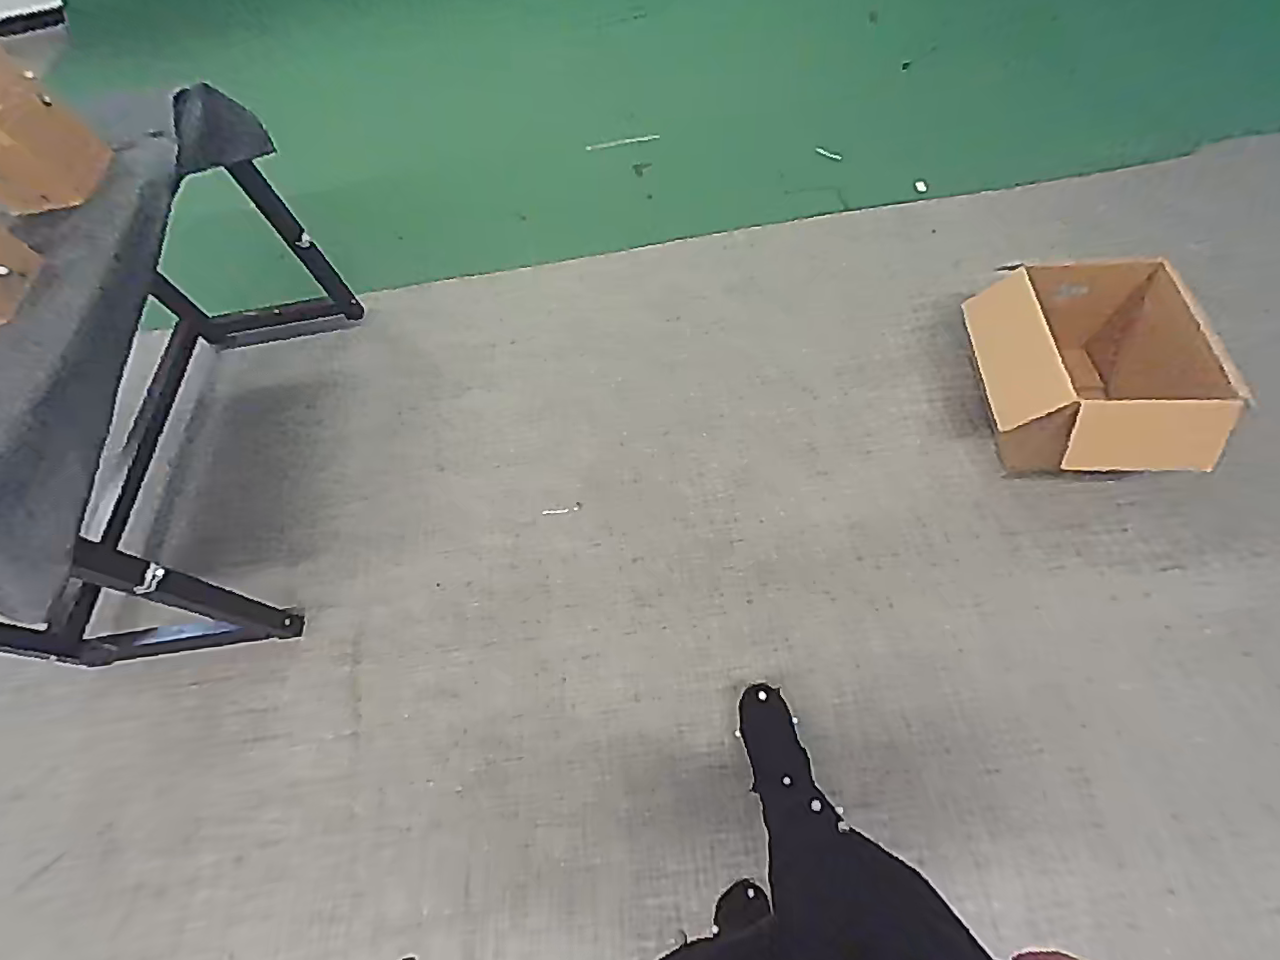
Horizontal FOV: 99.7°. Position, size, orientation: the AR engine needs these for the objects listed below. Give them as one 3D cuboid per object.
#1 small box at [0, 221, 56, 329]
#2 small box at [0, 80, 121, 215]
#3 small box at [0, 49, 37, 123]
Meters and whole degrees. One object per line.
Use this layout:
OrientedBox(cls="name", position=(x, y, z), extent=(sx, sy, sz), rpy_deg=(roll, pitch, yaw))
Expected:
OrientedBox(cls="small box", position=(-1.208, -0.371, 0.938), extent=(0.179, 0.176, 0.168), rpy_deg=(-8, 61, 2))
OrientedBox(cls="small box", position=(-1.230, -0.665, 1.101), extent=(0.168, 0.176, 0.179), rpy_deg=(-7, 61, 4))
OrientedBox(cls="small box", position=(-1.265, -0.739, 0.954), extent=(0.168, 0.176, 0.179), rpy_deg=(-4, 61, 6))
